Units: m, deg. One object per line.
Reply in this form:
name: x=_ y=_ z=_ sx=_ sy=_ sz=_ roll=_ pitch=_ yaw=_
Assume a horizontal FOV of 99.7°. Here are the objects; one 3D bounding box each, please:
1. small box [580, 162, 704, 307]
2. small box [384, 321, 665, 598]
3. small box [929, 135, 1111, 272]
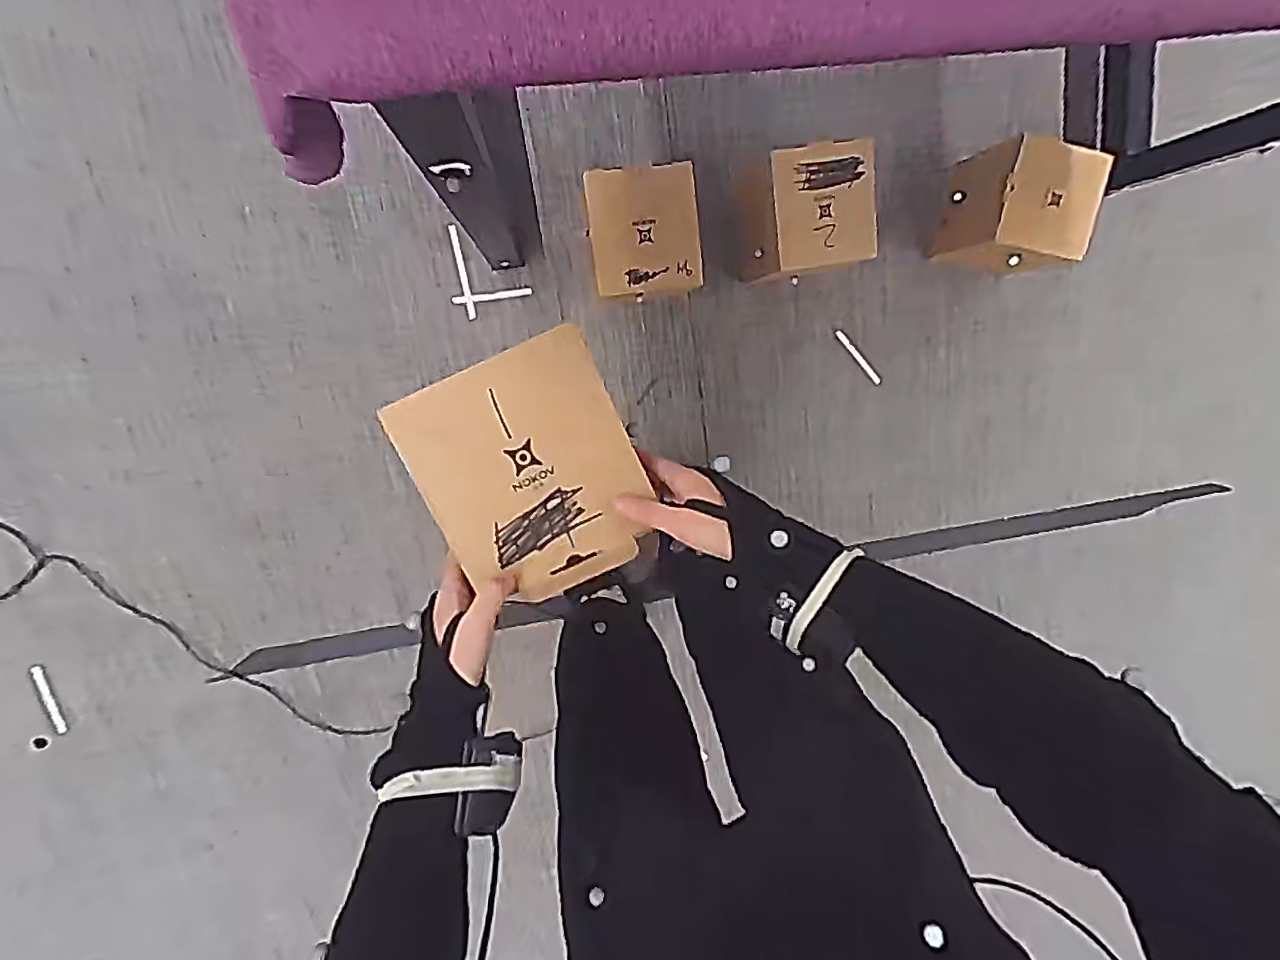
small box: x=-0.004 y=-0.386 z=0.875 sx=0.168 sy=0.176 sz=0.179 roll=-8 pitch=103 yaw=-7
small box: x=-0.091 y=-0.027 z=0.500 sx=0.168 sy=0.176 sz=0.179 roll=-25 pitch=101 yaw=-1
small box: x=0.659 y=-0.474 z=0.958 sx=0.179 sy=0.176 sz=0.168 roll=7 pitch=102 yaw=-9
